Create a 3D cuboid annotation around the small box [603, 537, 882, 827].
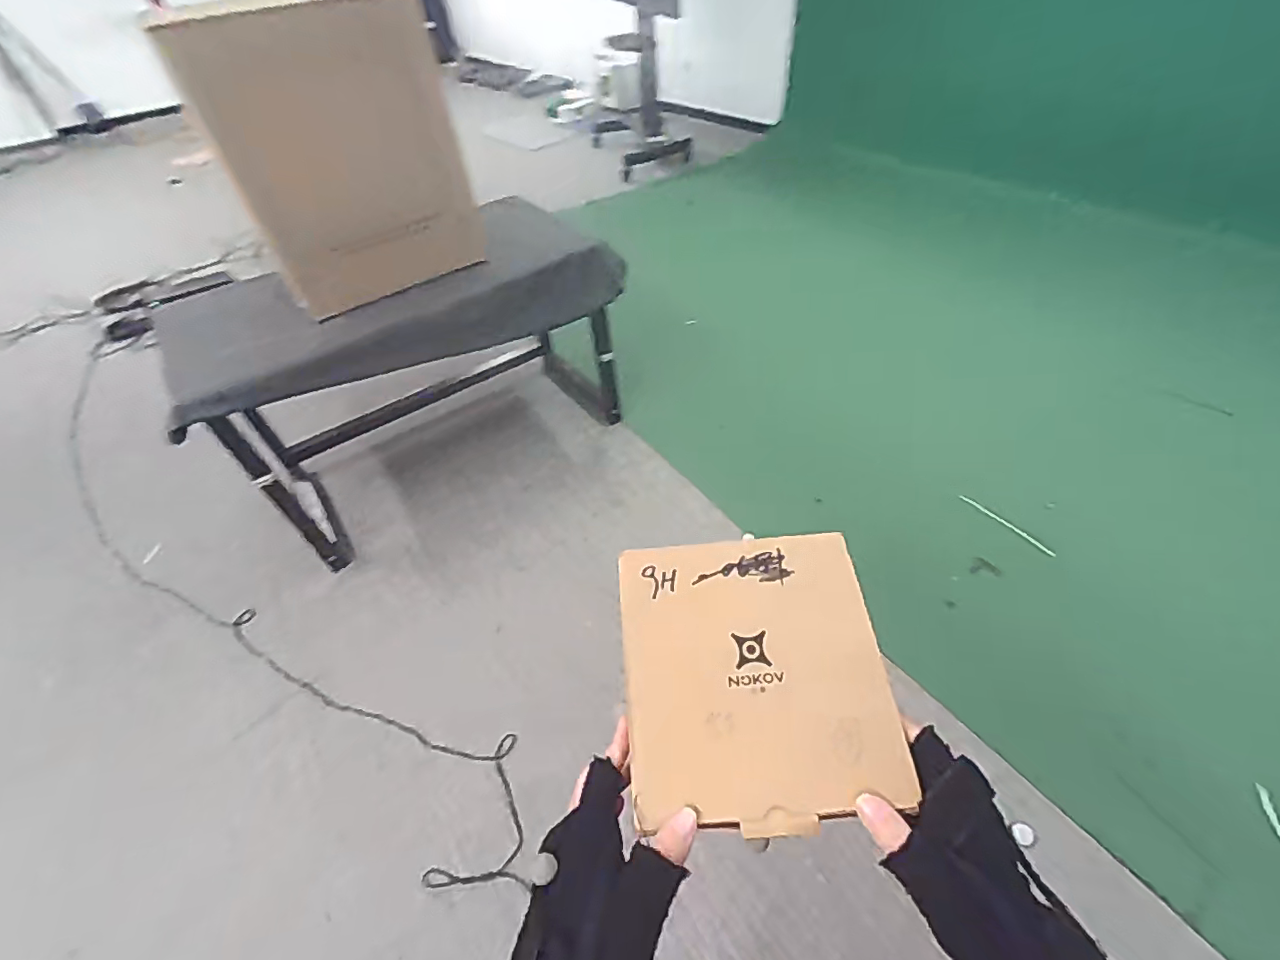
[{"bbox_3d":[0.067,0.169,0.444,0.168,0.176,0.179,-8,58,-1],"label":"small box"}]
